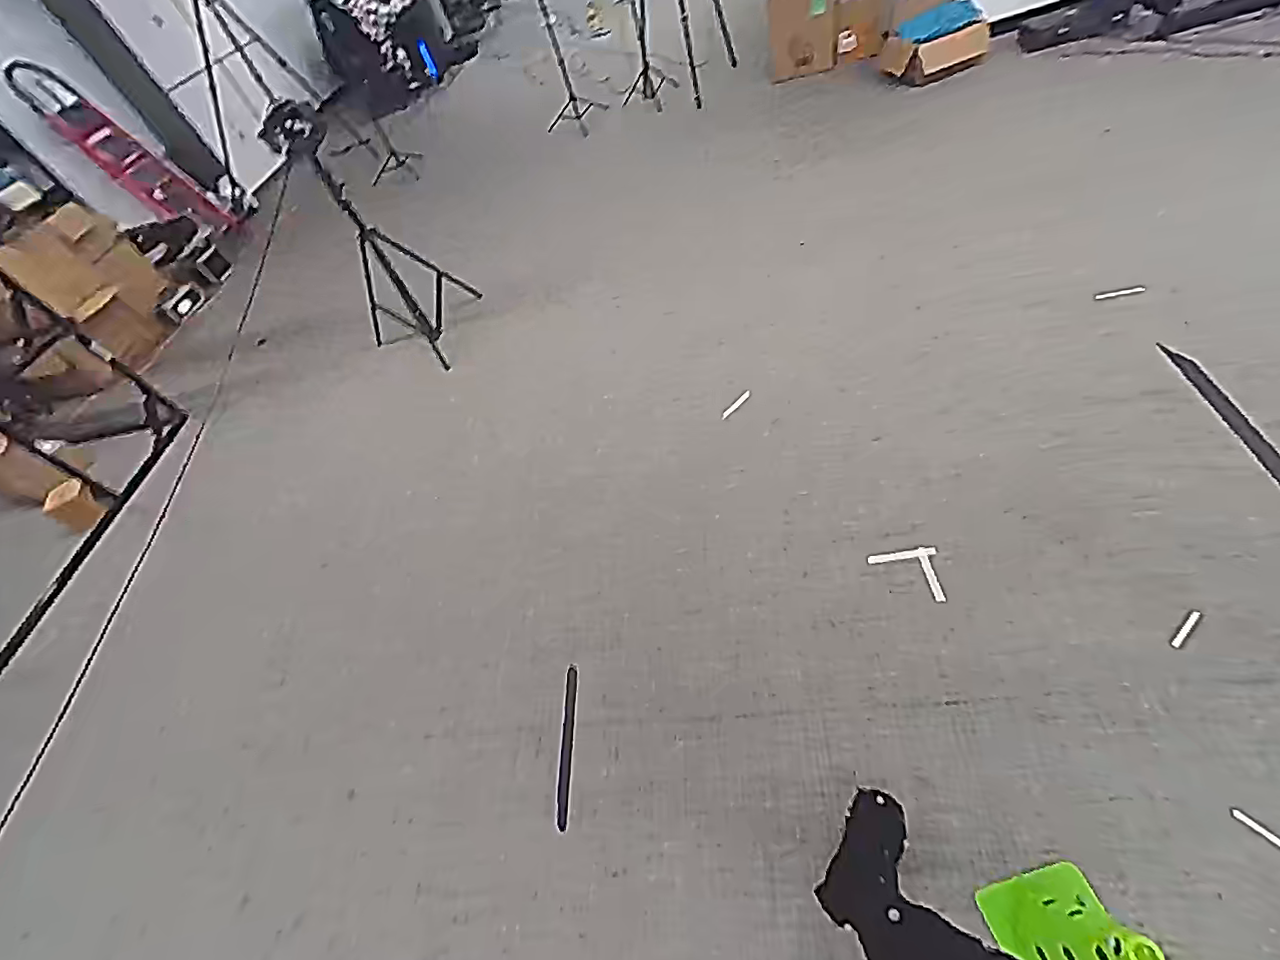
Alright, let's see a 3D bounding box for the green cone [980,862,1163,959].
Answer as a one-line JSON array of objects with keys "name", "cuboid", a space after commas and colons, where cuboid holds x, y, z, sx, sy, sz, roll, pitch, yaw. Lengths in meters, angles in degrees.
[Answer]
[{"name": "green cone", "cuboid": [0.704, 0.709, 0.825, 0.200, 0.368, 0.202, -21, 48, 2]}]
